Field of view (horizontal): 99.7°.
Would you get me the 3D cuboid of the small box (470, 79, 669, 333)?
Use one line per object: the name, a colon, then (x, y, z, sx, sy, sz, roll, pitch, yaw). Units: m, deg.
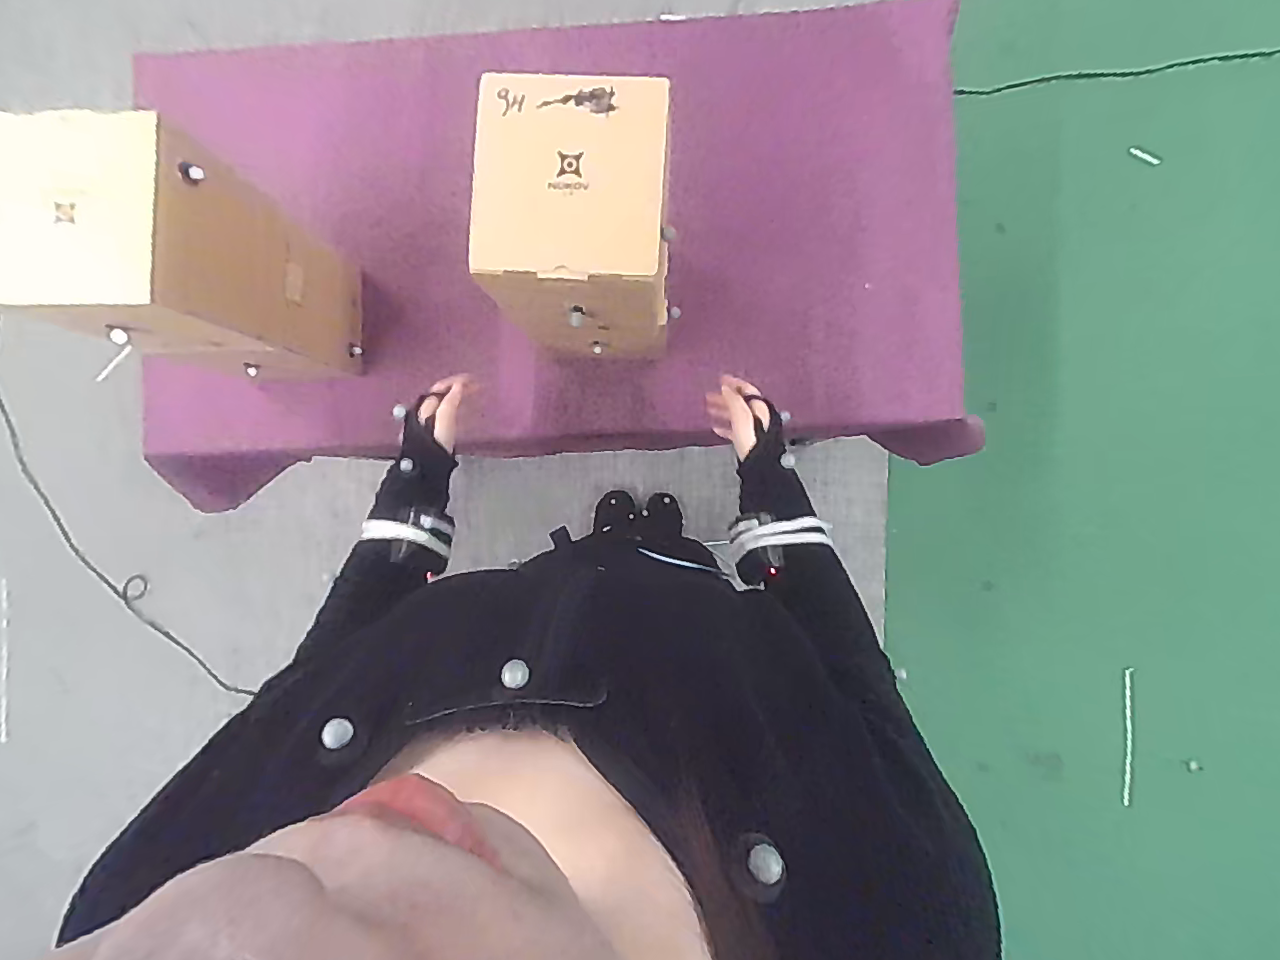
small box: (-0.058, -0.257, 0.547, 0.168, 0.176, 0.179, 4, 90, 2)

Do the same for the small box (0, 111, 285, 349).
small box: (-0.502, -0.239, 0.560, 0.168, 0.176, 0.179, 1, 88, 1)

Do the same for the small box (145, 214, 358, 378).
small box: (-0.501, -0.234, 0.722, 0.179, 0.176, 0.168, -1, 89, 2)
